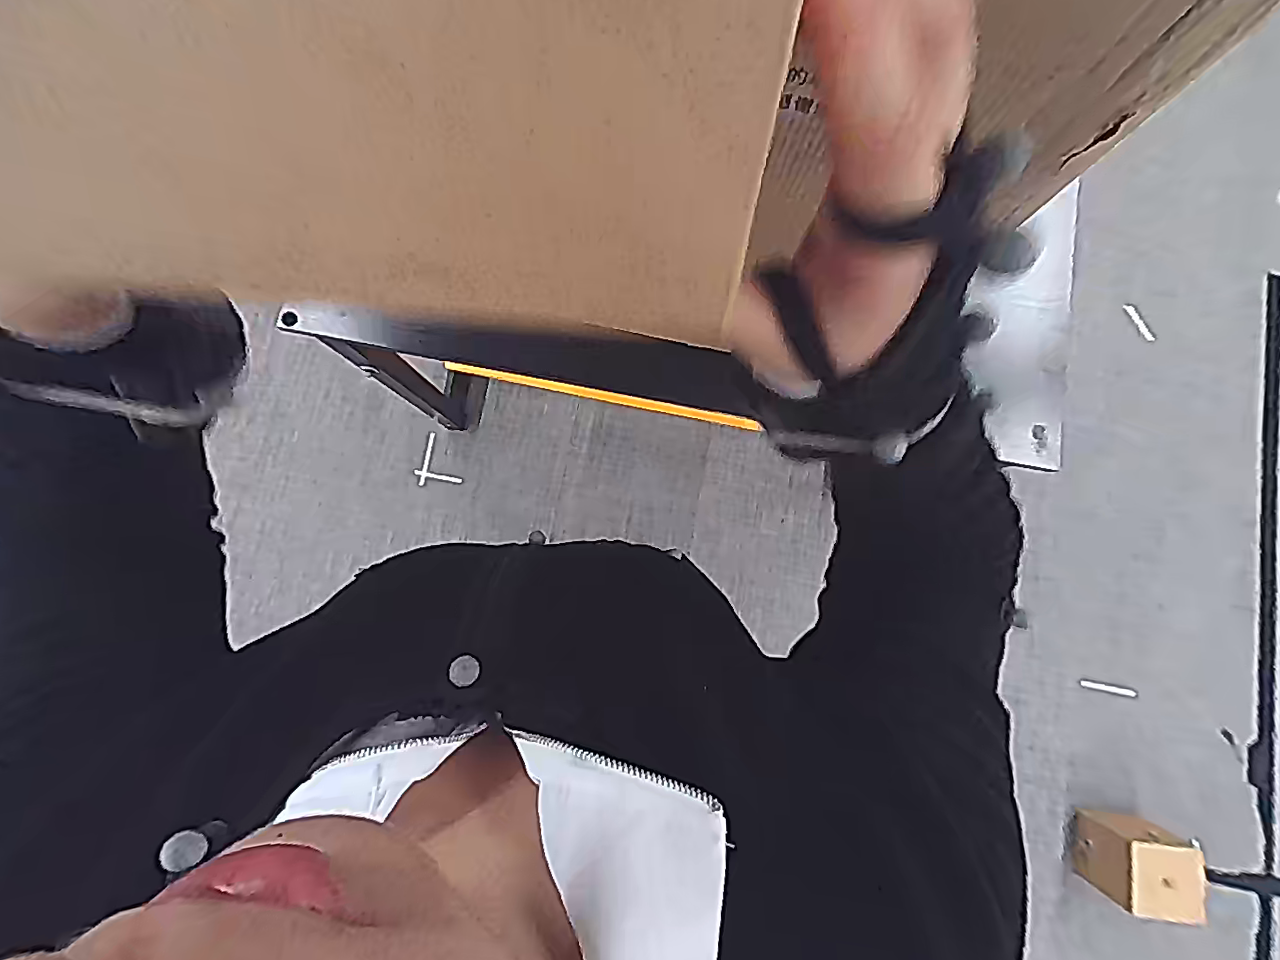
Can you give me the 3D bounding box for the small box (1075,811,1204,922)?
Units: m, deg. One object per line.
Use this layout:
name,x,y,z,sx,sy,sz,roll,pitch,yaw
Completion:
small box,1.248,0.961,1.359,0.179,0.176,0.168,6,82,1
